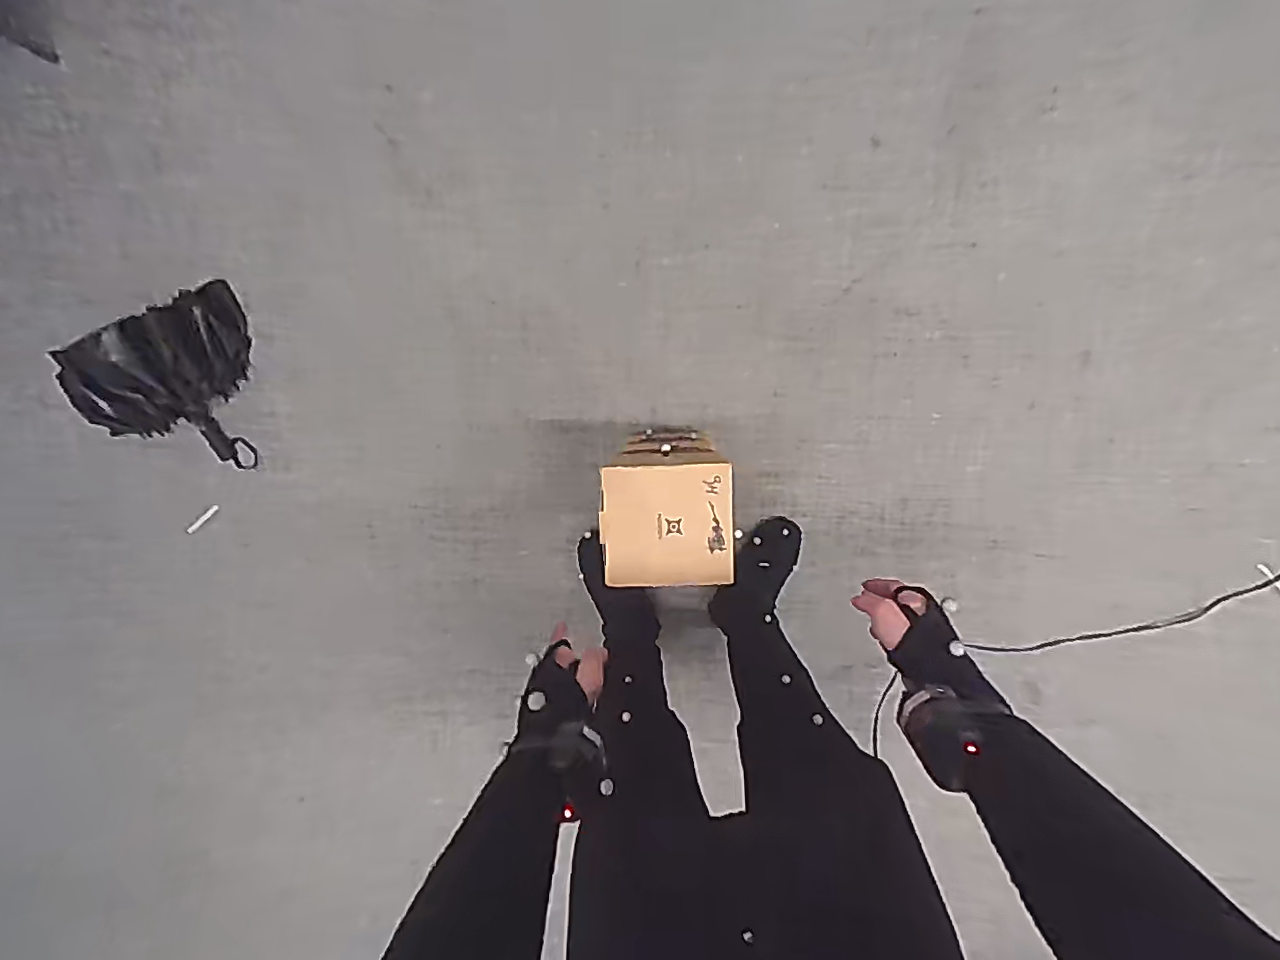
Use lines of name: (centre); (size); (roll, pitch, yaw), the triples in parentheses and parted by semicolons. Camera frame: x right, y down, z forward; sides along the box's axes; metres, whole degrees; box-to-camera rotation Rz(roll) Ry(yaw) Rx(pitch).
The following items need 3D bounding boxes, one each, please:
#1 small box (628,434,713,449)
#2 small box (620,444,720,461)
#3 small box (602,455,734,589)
small box: (0.065, -0.003, 1.119); (0.168, 0.176, 0.179); (-3, 100, 4)
small box: (0.054, 0.028, 0.957); (0.168, 0.176, 0.179); (-3, 99, 4)
small box: (0.044, 0.054, 0.796); (0.179, 0.176, 0.168); (-1, 98, 5)
